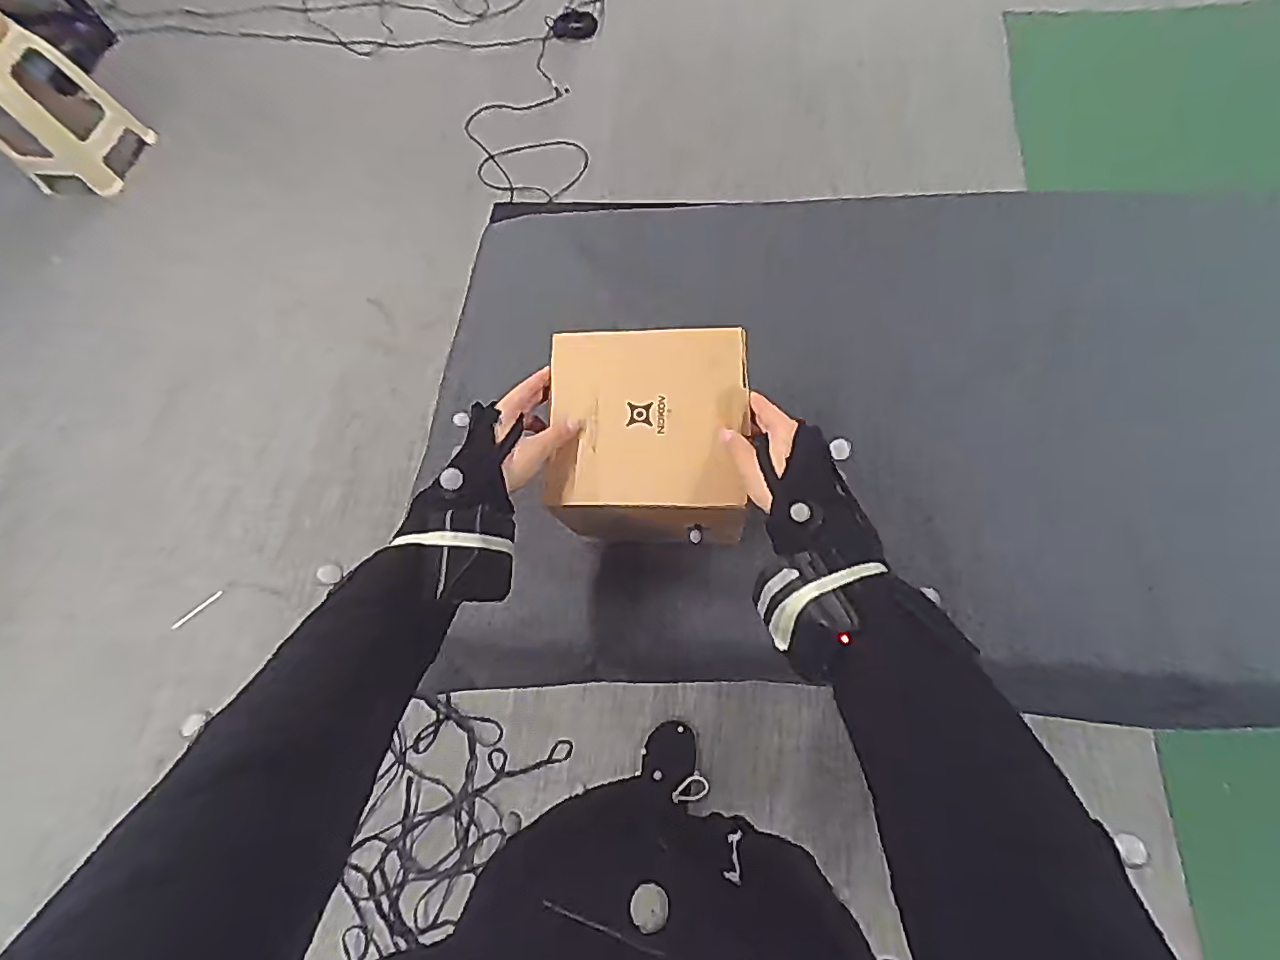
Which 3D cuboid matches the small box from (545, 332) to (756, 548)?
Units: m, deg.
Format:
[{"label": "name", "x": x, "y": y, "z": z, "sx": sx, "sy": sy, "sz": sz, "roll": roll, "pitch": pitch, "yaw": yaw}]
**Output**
[{"label": "small box", "x": 0.018, "y": -0.029, "z": 0.541, "sx": 0.179, "sy": 0.176, "sz": 0.168, "roll": -1, "pitch": 71, "yaw": 8}]
